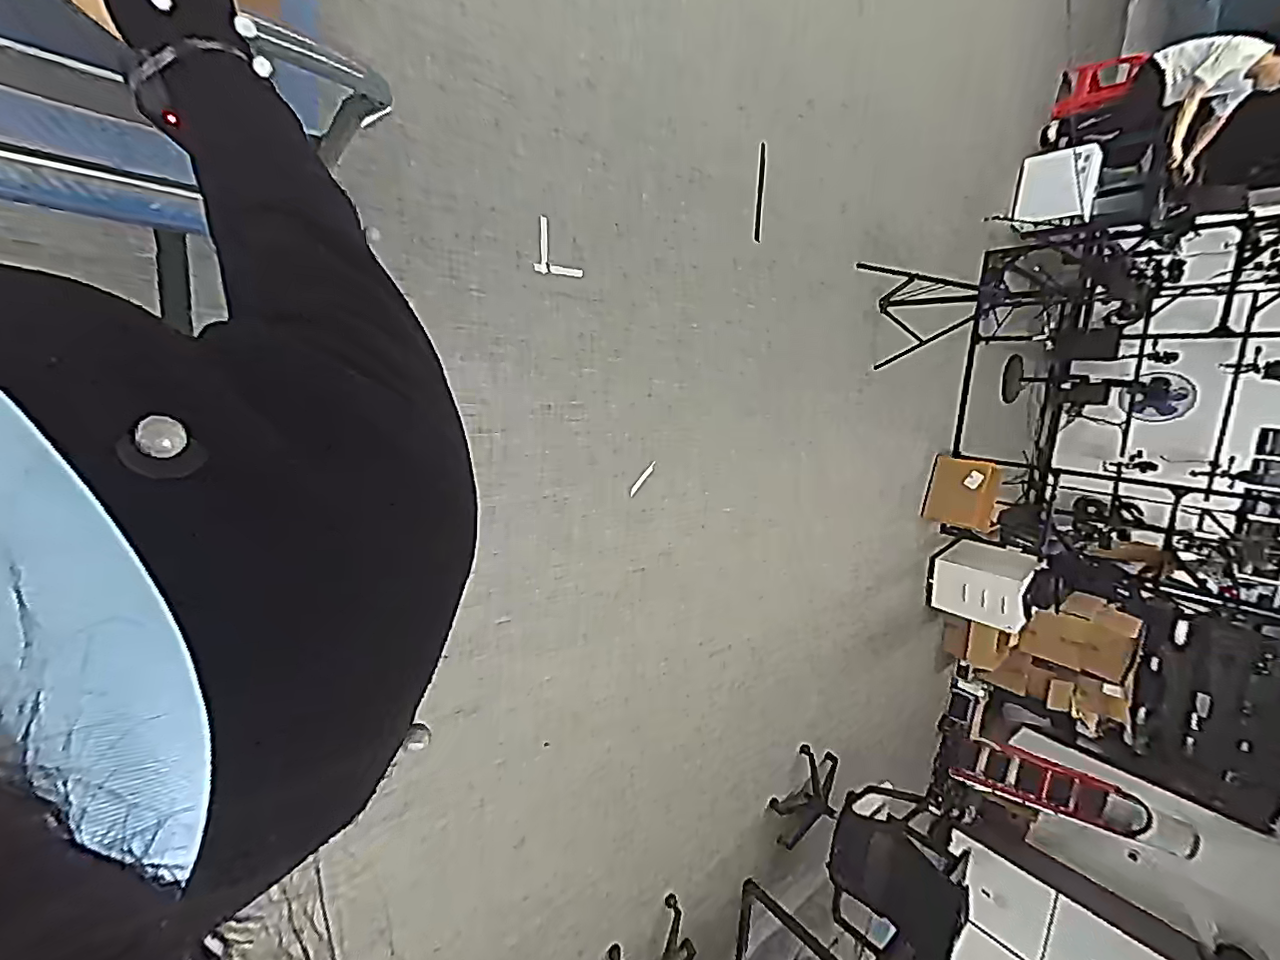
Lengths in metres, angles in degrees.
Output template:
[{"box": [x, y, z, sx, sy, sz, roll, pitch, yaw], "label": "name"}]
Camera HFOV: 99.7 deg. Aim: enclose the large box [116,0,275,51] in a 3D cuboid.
[{"box": [-0.739, -0.886, 0.725, 0.408, 0.320, 0.320, -2, 102, -40], "label": "large box"}]
